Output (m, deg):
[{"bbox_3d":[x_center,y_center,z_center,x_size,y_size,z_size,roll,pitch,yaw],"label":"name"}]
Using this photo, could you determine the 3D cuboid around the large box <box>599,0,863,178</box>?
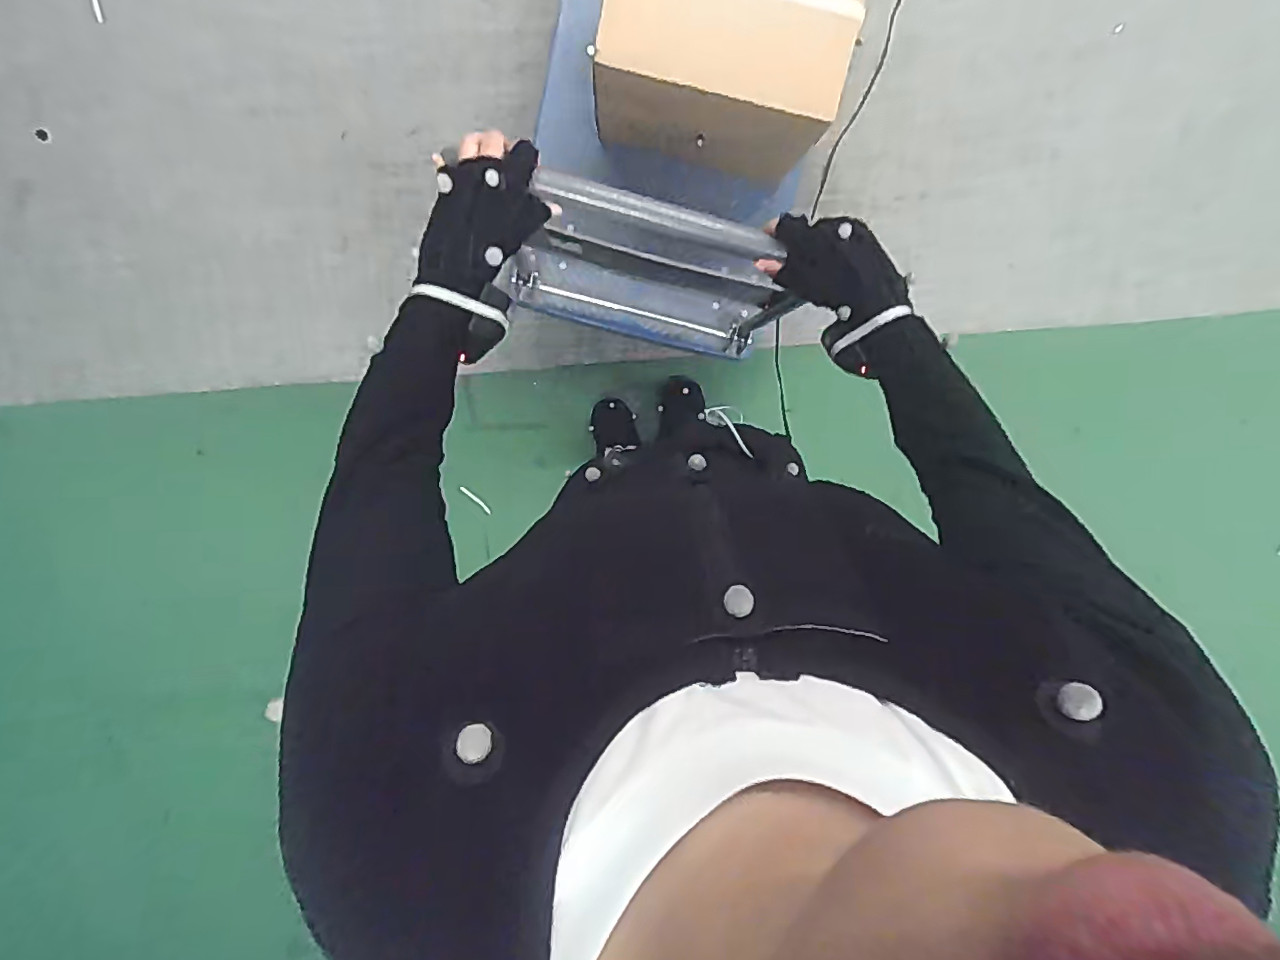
[{"bbox_3d":[0.154,-0.801,0.994,0.408,0.320,0.320,10,101,-4],"label":"large box"}]
